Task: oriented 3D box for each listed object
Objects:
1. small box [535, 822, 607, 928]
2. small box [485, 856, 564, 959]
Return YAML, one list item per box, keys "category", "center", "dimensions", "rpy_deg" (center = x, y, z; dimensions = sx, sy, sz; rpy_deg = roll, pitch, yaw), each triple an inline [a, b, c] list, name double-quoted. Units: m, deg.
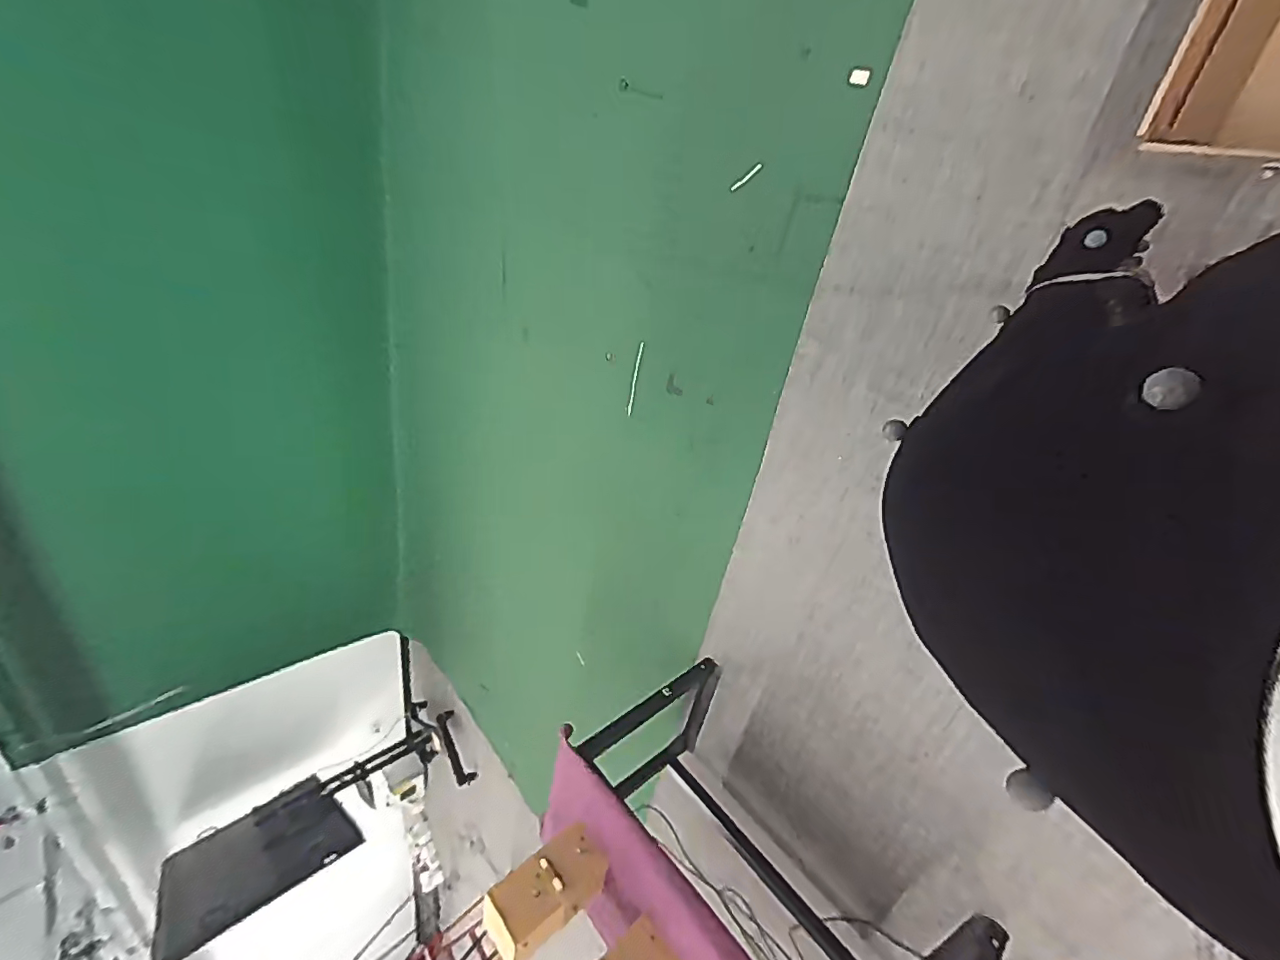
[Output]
- category: "small box"
  center: [-0.221, 1.233, 1.697]
  dimensions: [0.168, 0.176, 0.179]
  rpy_deg: [32, 125, 36]
- category: "small box"
  center: [-0.341, 1.271, 1.593]
  dimensions: [0.168, 0.176, 0.179]
  rpy_deg: [33, 125, 36]
